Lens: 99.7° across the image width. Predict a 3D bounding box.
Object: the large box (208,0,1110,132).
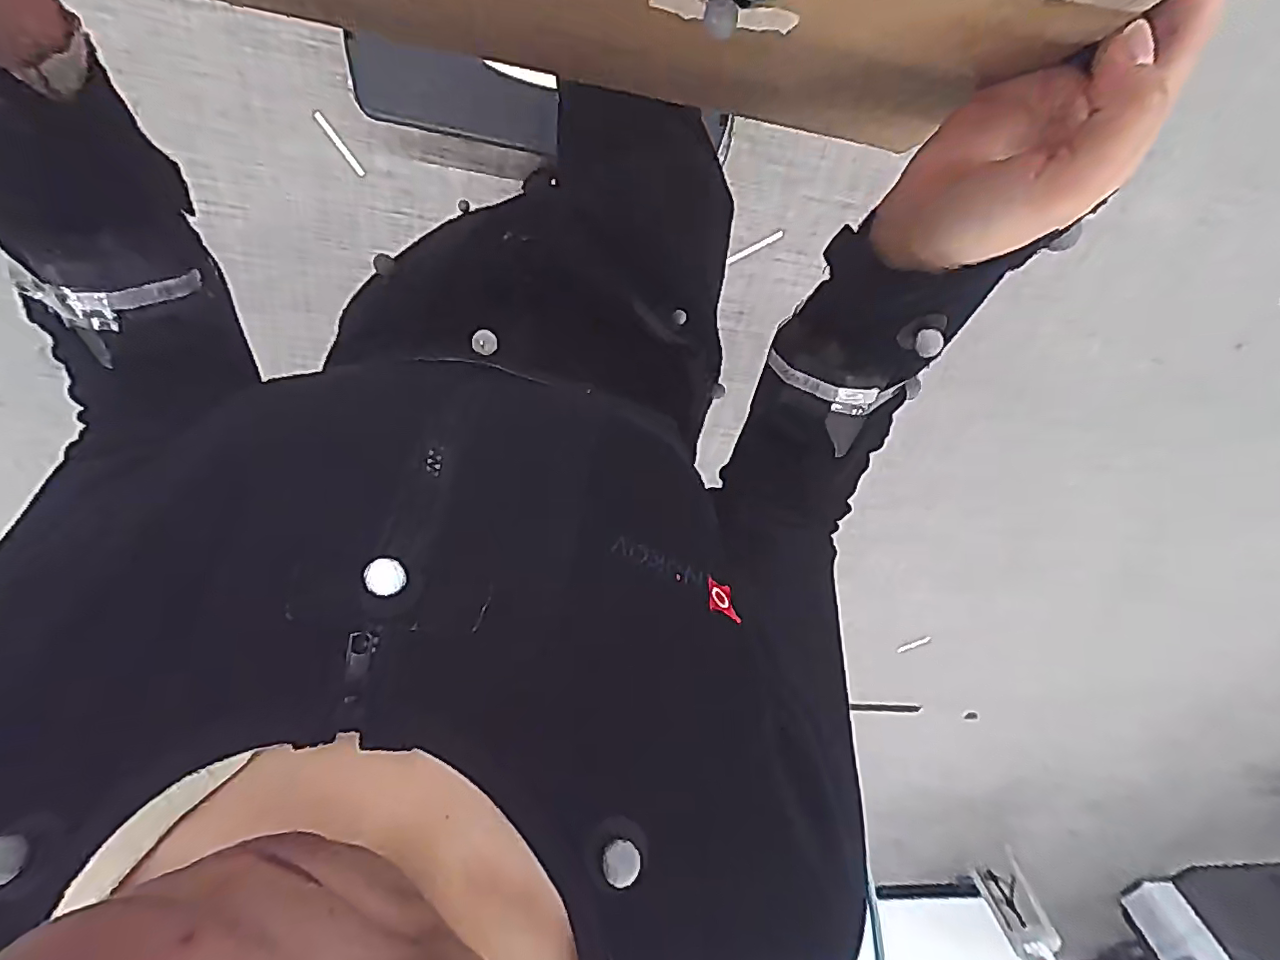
[{"bbox_3d":[-0.010,-0.334,0.115,0.408,0.320,0.320,6,105,-7],"label":"large box"}]
